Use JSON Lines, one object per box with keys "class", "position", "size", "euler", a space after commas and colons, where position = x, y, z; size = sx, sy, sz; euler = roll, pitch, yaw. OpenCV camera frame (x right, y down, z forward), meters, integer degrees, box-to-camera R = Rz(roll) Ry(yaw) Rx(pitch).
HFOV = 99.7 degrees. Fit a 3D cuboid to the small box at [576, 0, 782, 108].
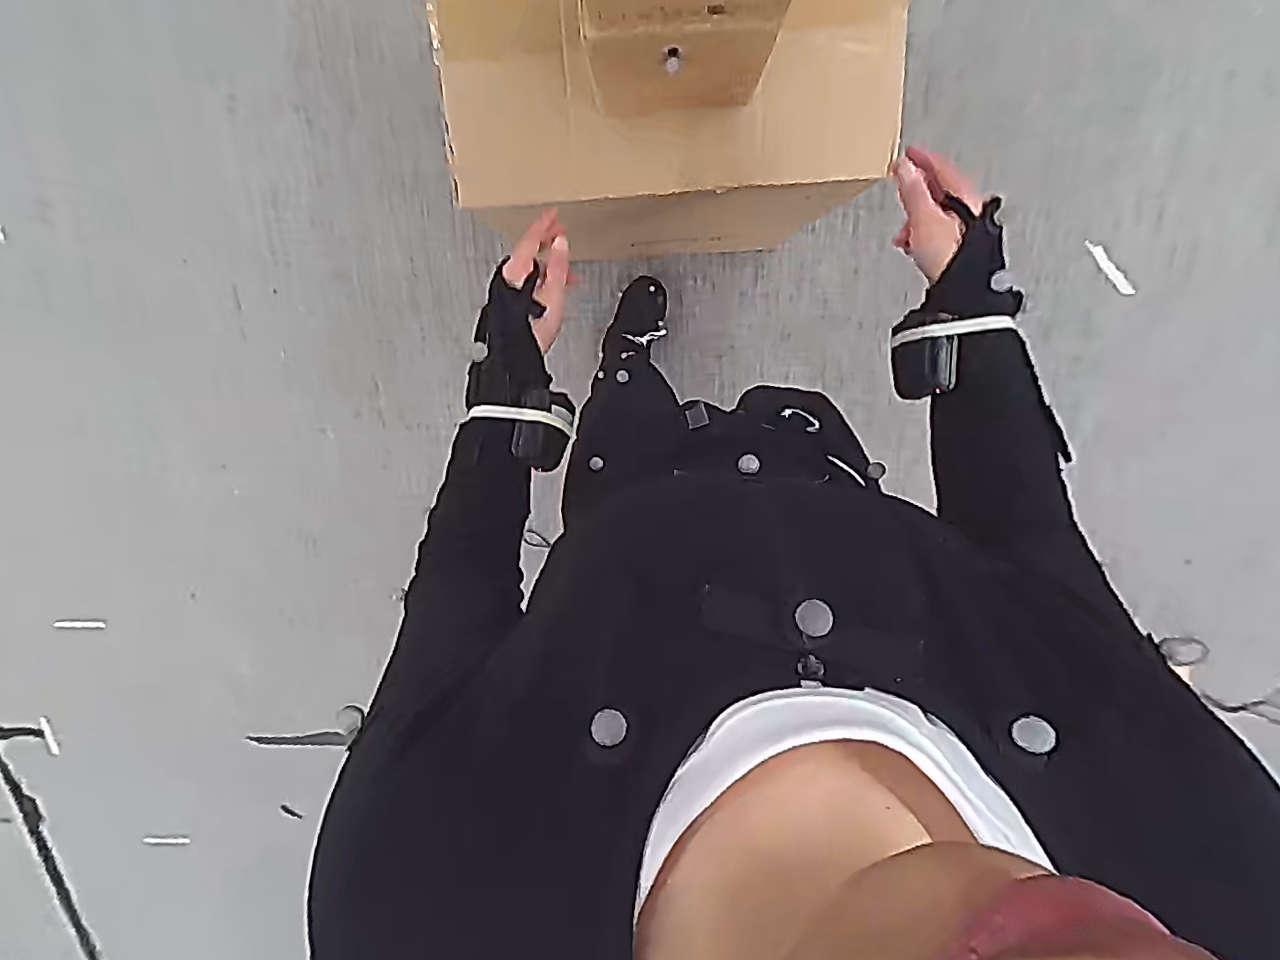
{"class": "small box", "position": [0.031, -0.480, 0.514], "size": [0.179, 0.176, 0.168], "euler": [-3, 106, 3]}
